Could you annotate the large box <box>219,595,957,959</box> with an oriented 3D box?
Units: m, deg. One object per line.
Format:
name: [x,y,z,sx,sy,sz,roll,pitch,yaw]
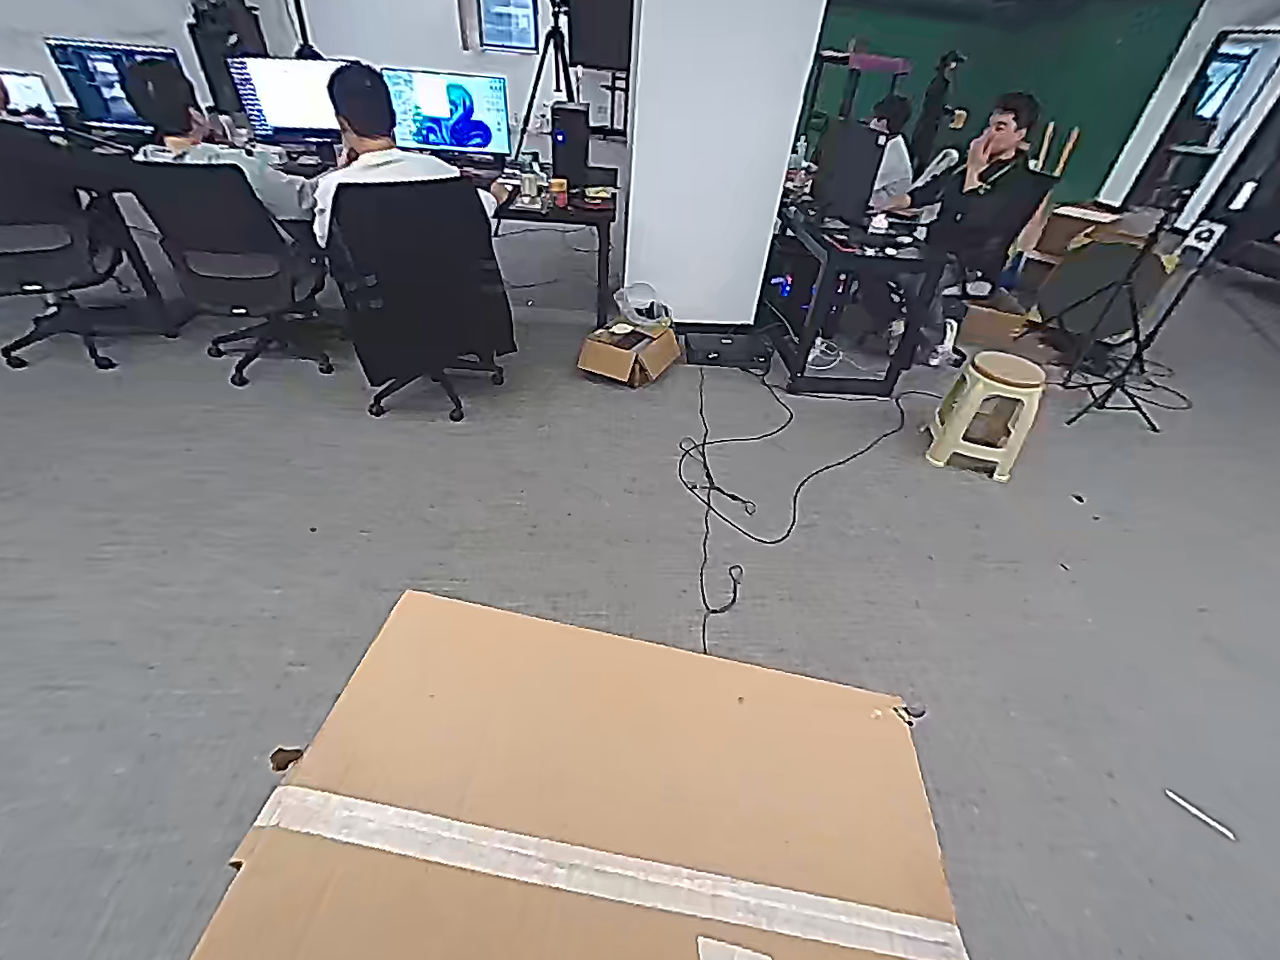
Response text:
large box: [-0.033,0.340,0.422,0.408,0.320,0.320,14,42,-1]
